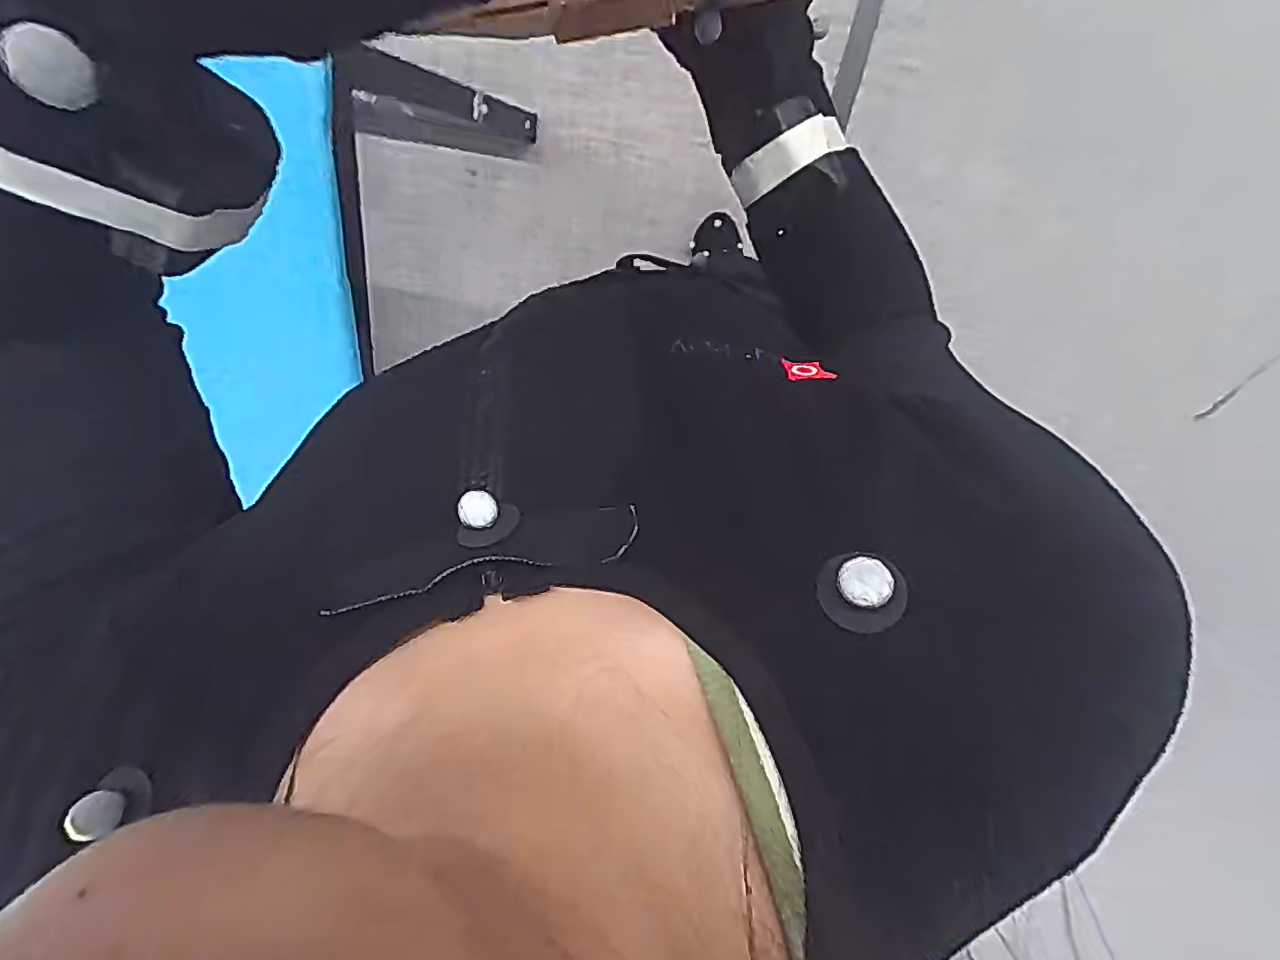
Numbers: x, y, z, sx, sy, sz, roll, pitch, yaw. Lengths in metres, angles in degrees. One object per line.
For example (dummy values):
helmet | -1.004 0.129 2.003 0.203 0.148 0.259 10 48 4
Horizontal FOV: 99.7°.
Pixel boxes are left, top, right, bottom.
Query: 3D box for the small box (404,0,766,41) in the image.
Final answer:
small box | -0.009 -0.290 0.205 0.168 0.176 0.179 -2 129 7
